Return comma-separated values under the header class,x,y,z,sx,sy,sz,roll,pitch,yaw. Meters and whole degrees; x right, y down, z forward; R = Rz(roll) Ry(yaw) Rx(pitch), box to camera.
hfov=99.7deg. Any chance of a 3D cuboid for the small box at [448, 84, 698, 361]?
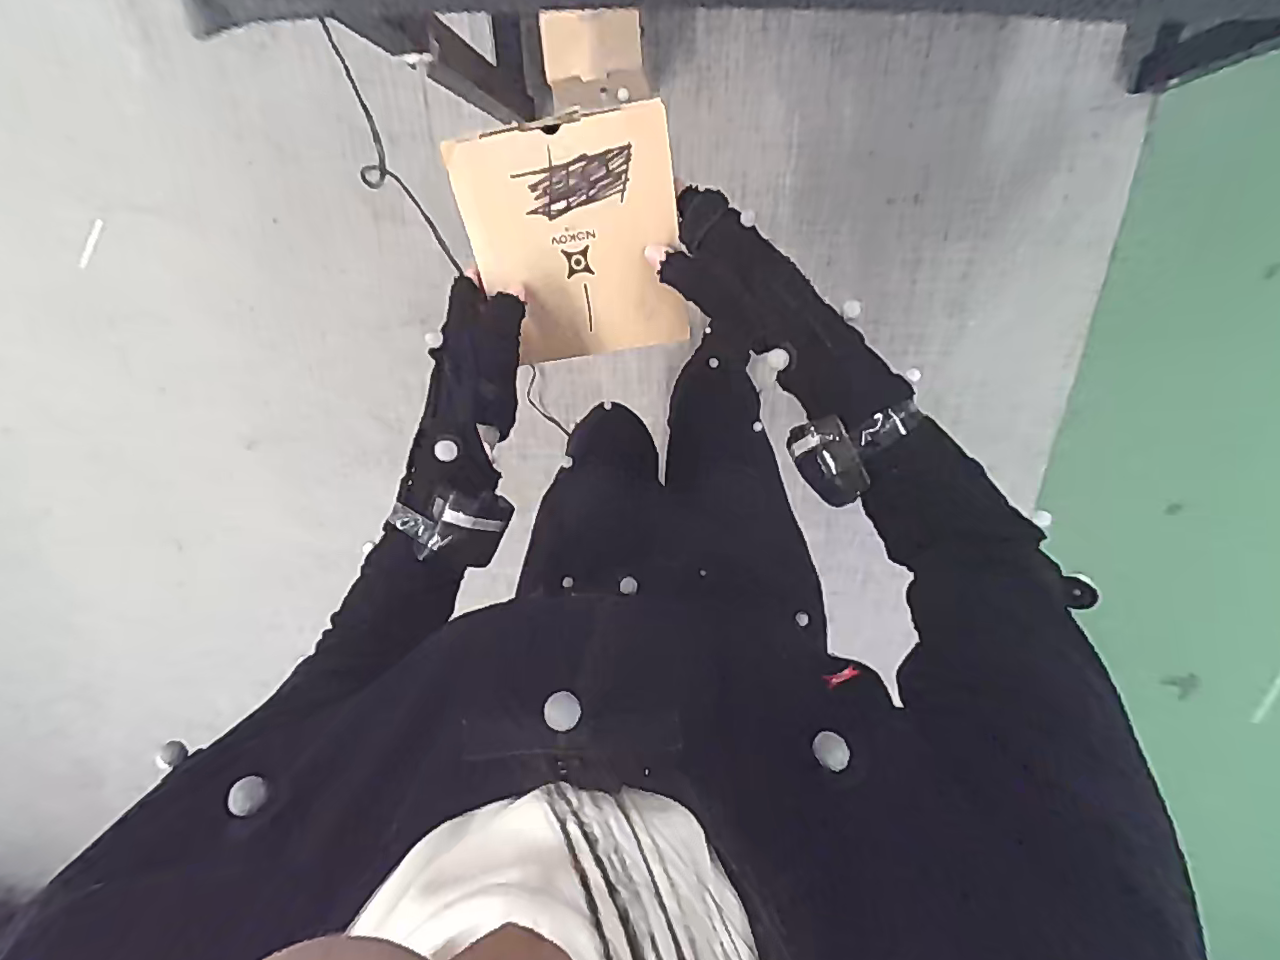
class,x,y,z,sx,sy,sz,roll,pitch,yaw
small box,-0.044,-0.229,0.482,0.168,0.176,0.179,-7,124,5
